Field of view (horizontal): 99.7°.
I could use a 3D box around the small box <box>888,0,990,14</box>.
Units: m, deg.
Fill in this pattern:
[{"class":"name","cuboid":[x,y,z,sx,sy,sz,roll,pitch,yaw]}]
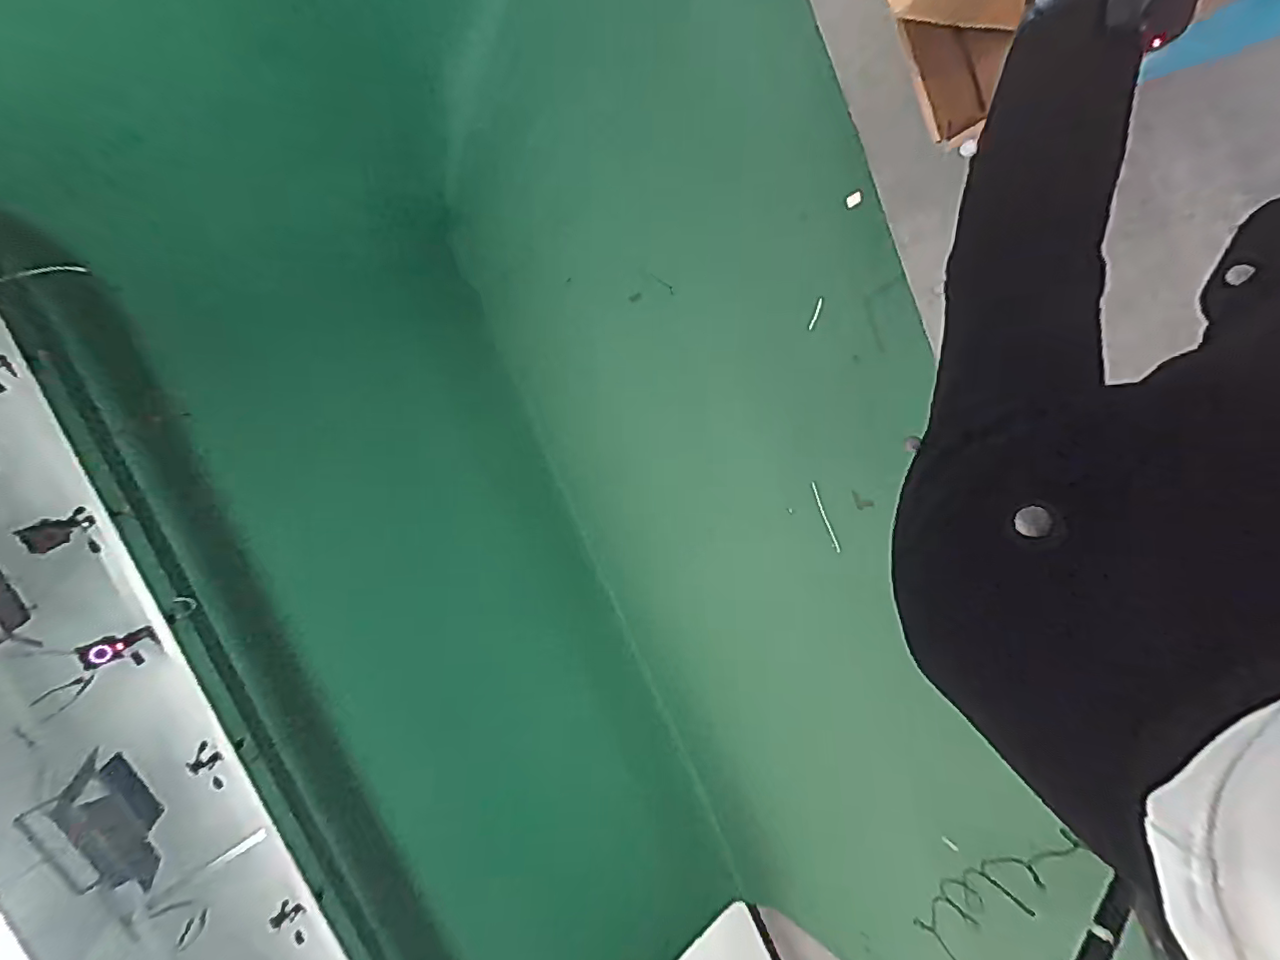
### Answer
[{"class":"small box","cuboid":[0.333,-0.599,0.520,0.179,0.176,0.168,-21,94,60]}]
